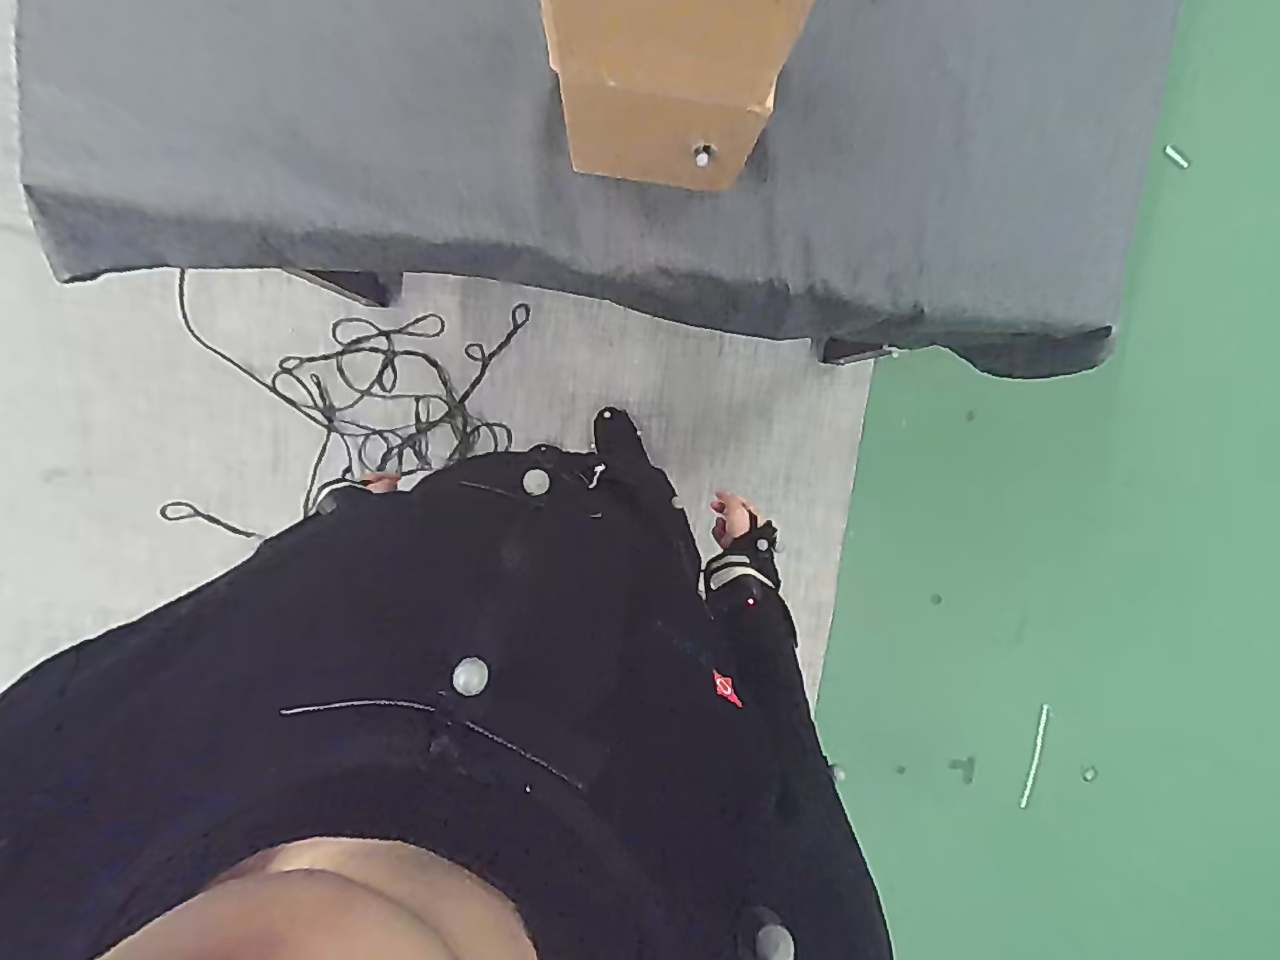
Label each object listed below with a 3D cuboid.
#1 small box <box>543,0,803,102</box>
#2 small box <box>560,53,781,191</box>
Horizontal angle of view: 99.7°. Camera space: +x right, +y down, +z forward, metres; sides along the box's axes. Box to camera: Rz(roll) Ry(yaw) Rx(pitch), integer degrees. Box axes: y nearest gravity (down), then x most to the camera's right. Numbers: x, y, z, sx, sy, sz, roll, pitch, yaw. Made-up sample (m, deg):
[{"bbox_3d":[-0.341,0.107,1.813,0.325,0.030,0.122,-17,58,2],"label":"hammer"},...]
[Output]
[{"bbox_3d":[0.029,-0.383,0.346,0.179,0.176,0.168,7,95,-5],"label":"small box"},{"bbox_3d":[0.027,-0.396,0.508,0.179,0.176,0.168,6,95,-3],"label":"small box"}]
